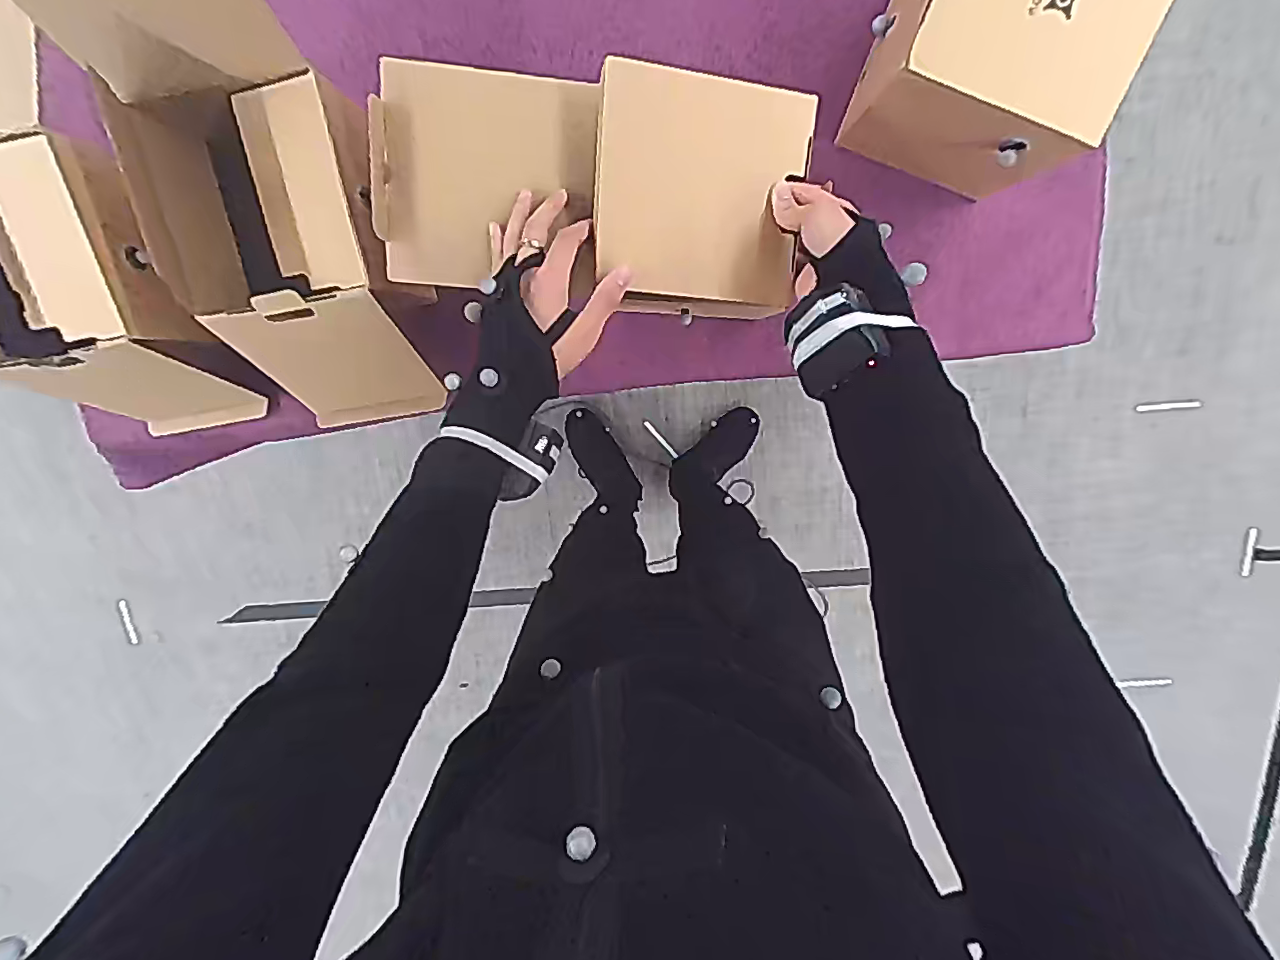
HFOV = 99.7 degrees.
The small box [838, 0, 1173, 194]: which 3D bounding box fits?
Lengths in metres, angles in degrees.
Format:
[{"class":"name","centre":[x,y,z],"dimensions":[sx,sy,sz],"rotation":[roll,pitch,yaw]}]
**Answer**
[{"class":"small box","centre":[0.315,-0.384,0.489],"dimensions":[0.179,0.176,0.168],"rotation":[21,104,-3]}]
